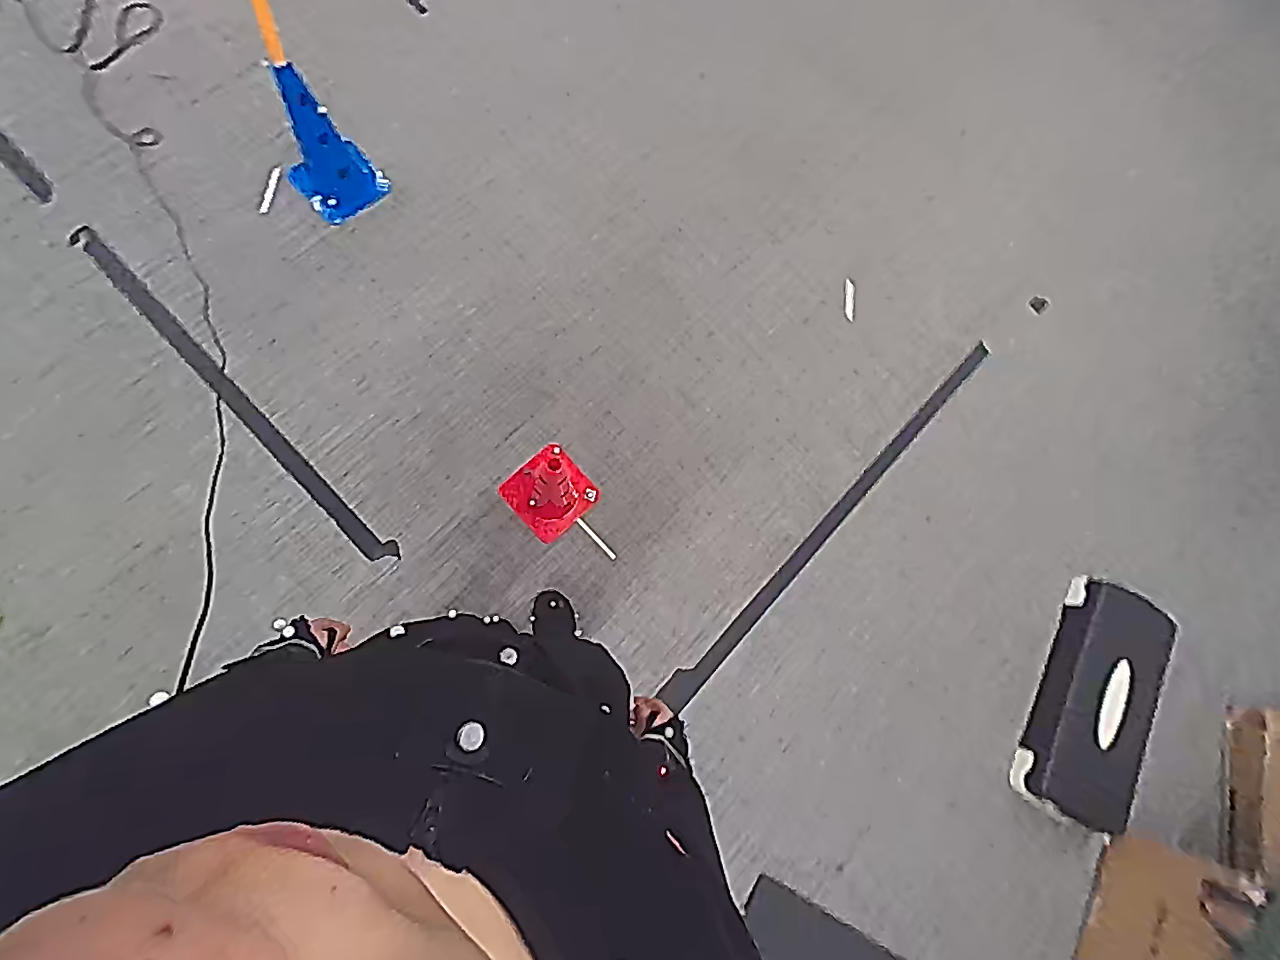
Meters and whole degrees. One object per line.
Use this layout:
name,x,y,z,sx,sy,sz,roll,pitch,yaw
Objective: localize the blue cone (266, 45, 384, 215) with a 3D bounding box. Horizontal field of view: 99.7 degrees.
blue cone,-0.788,-0.851,1.308,0.193,0.380,0.192,-40,88,-14
